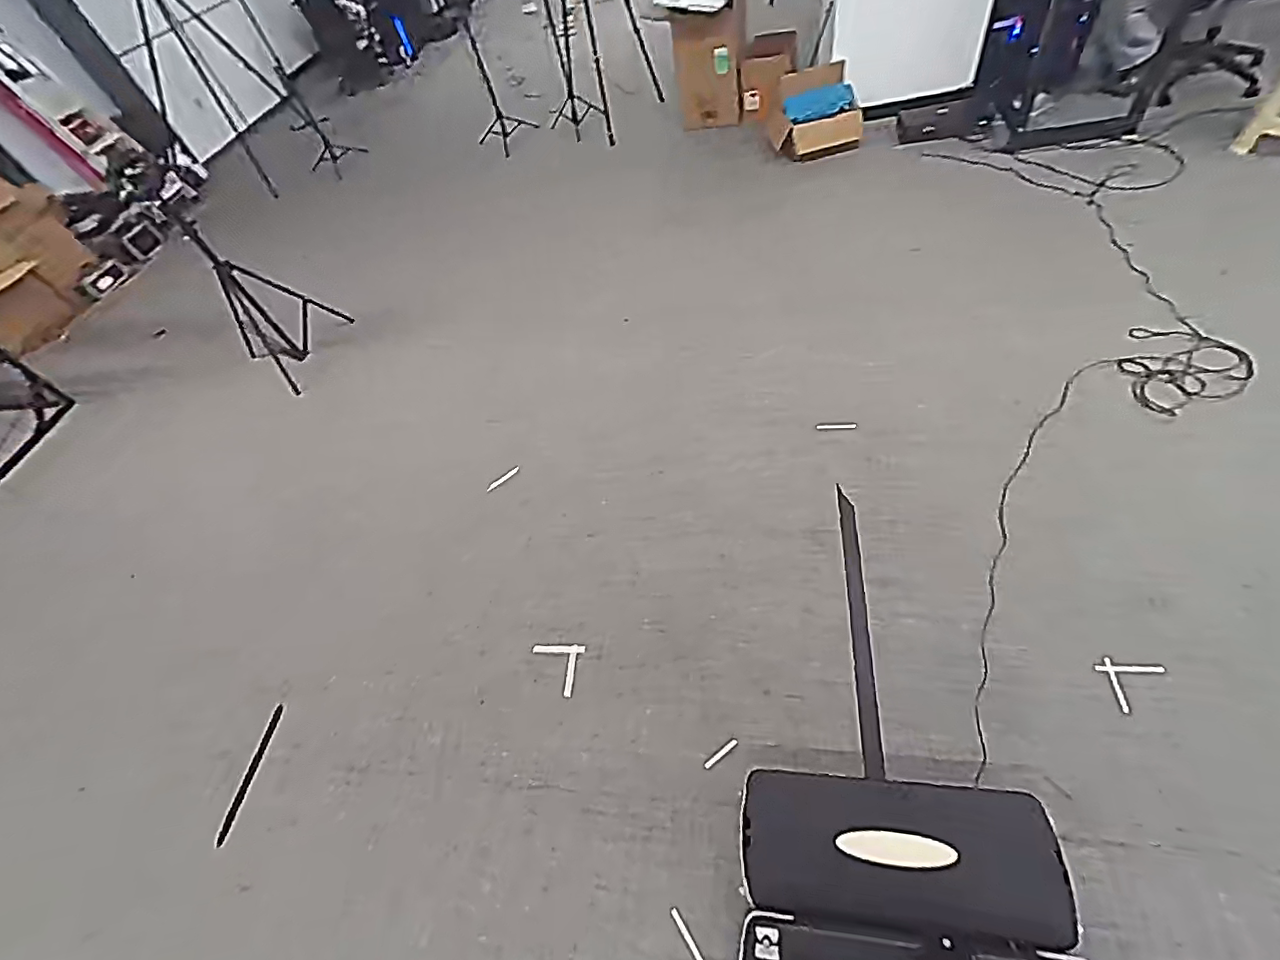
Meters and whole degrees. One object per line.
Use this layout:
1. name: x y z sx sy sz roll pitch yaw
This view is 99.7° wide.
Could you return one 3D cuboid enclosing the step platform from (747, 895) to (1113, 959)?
1. step platform: 0.554 1.019 1.046 0.684 0.204 0.286 -3 53 13
